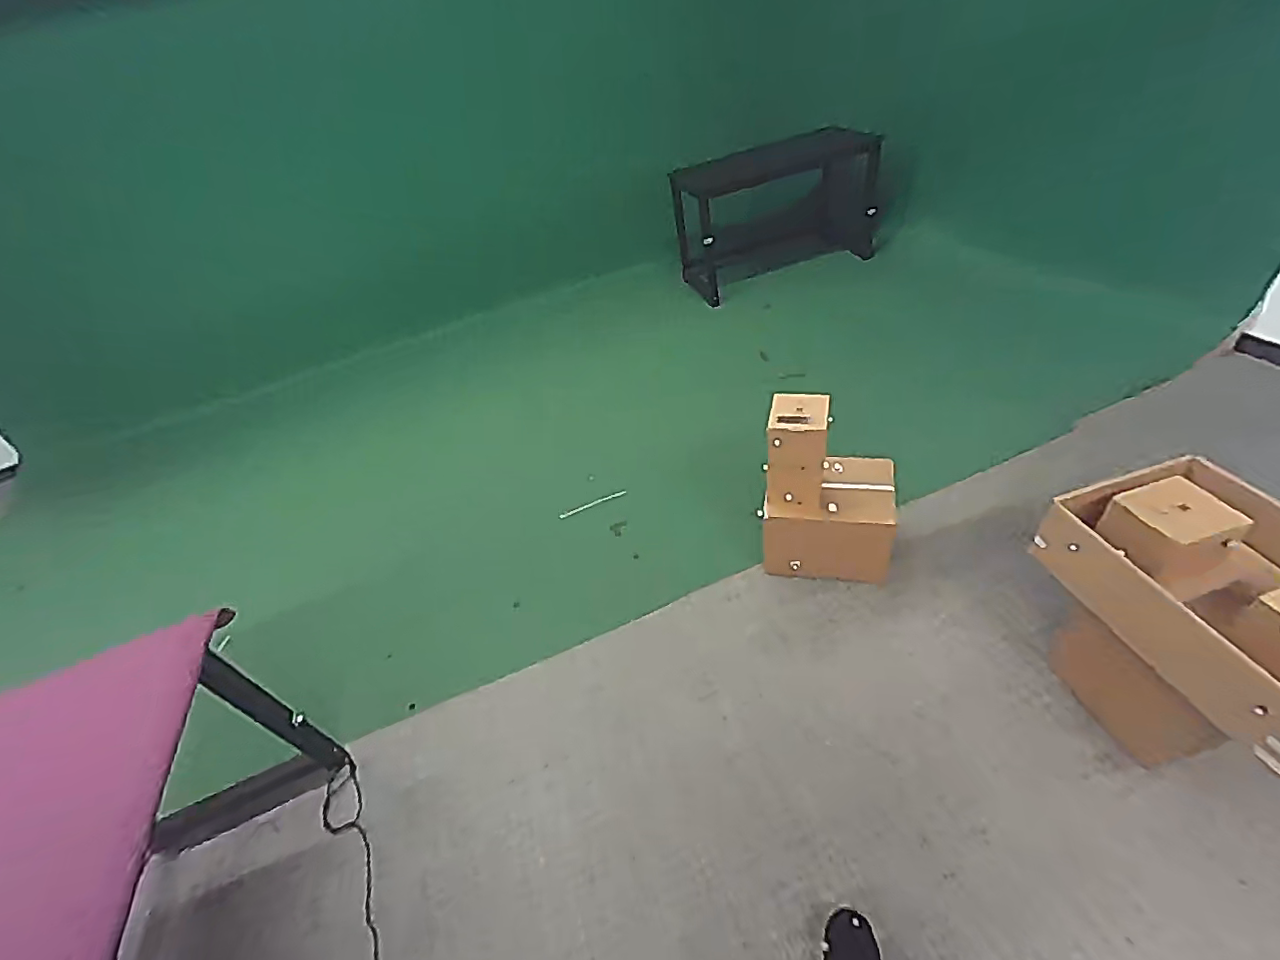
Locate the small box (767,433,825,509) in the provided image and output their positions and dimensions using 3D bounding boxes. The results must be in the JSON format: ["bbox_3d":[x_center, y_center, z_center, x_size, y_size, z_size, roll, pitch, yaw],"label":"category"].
[{"bbox_3d":[0.510,-0.032,1.770,0.168,0.176,0.179,5,46,18],"label":"small box"}]
